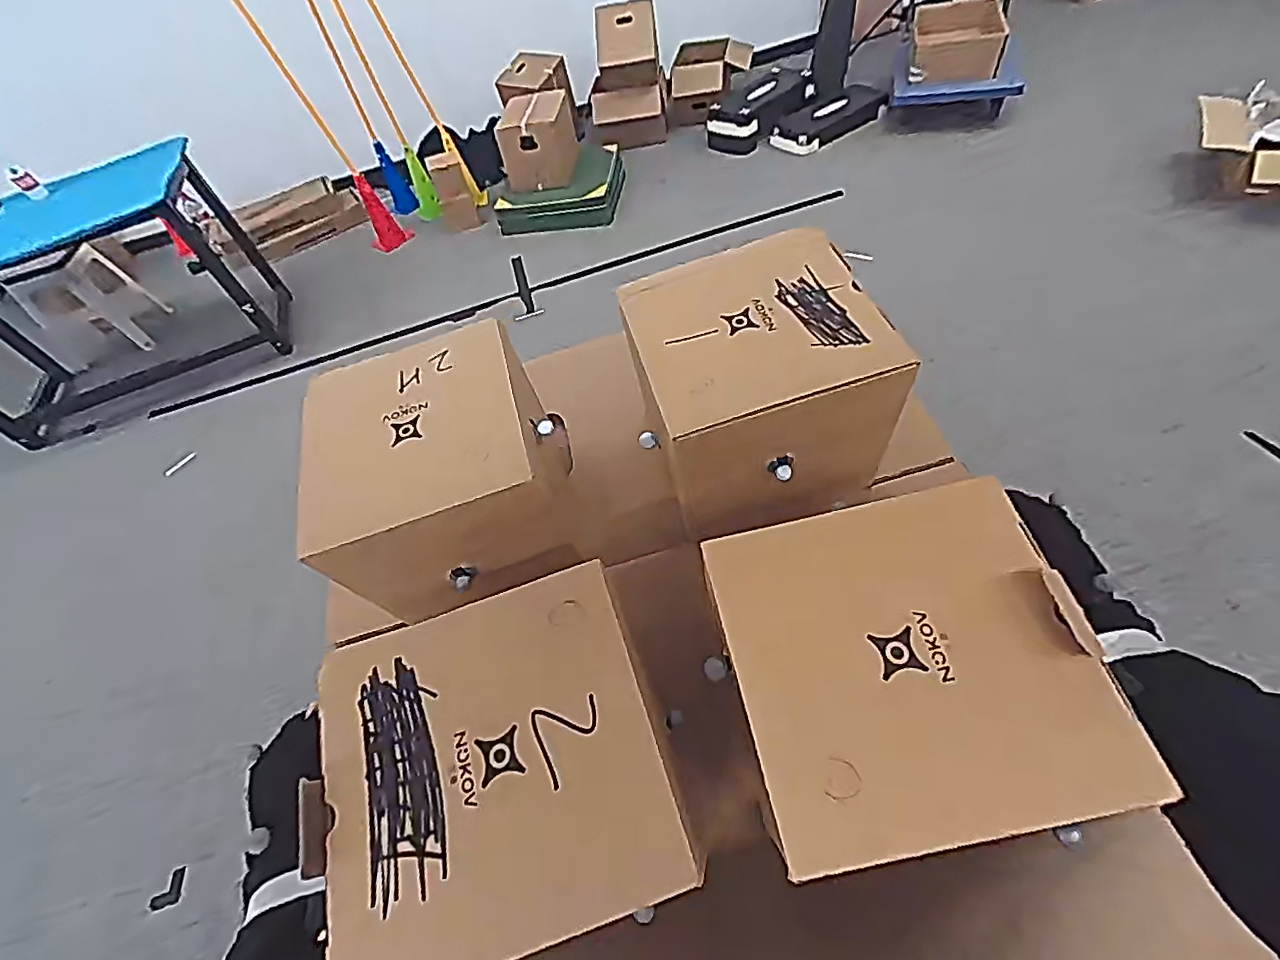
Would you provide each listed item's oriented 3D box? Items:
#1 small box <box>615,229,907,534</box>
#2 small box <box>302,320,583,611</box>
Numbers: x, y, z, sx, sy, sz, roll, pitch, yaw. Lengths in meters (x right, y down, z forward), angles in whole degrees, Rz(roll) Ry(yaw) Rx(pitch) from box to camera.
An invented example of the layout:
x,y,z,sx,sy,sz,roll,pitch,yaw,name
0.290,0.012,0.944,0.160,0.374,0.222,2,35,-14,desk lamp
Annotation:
x,y,z,sx,sy,sz,roll,pitch,yaw,name
0.092,-0.076,0.471,0.179,0.176,0.168,-17,58,1,small box
-0.159,0.000,0.475,0.168,0.176,0.179,-18,57,-1,small box
